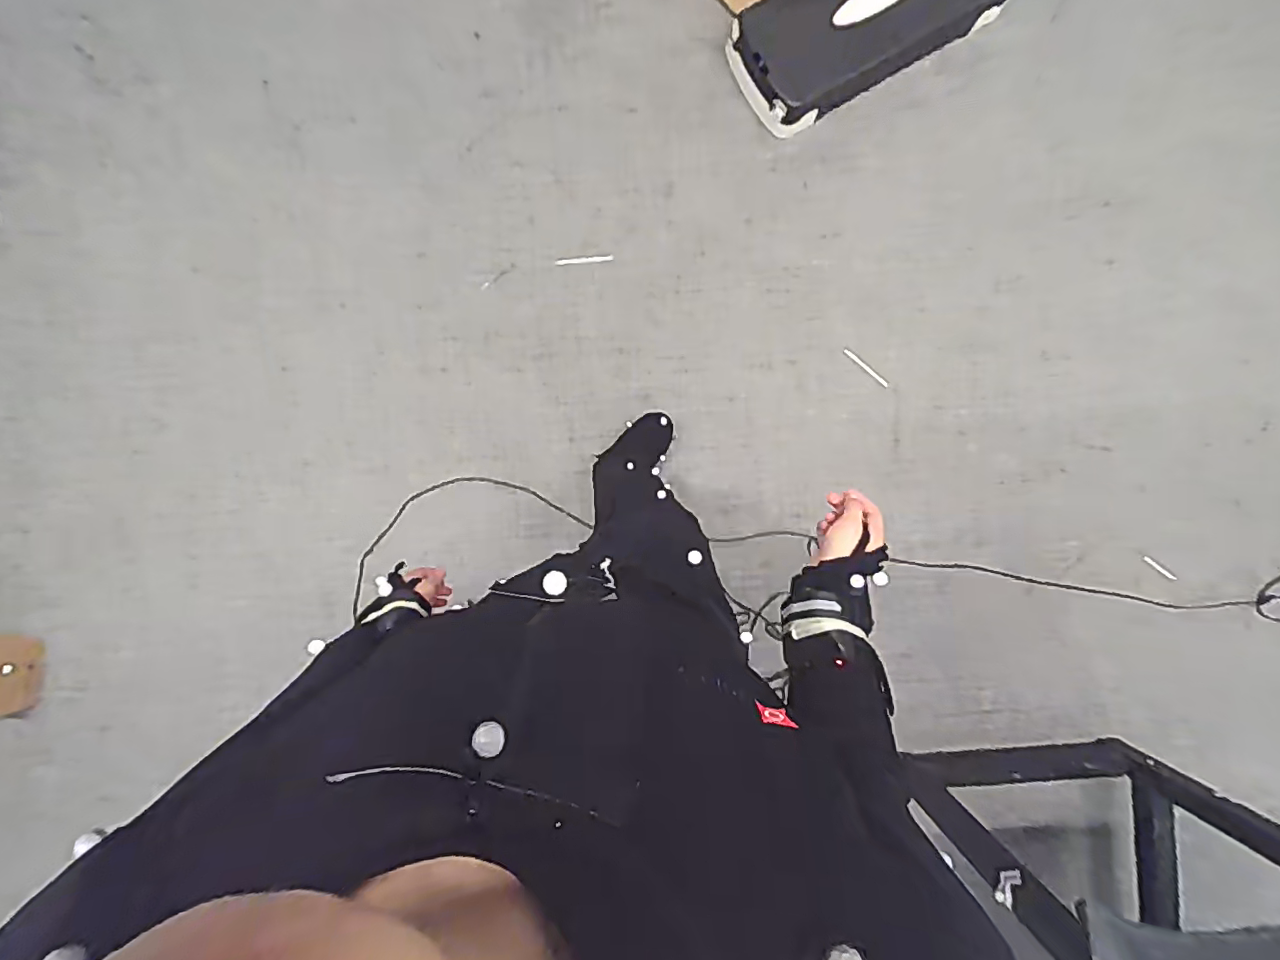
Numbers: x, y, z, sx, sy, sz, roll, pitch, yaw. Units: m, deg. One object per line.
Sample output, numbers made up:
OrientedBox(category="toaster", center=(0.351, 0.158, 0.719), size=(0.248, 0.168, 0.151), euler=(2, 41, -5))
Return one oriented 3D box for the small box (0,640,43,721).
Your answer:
OrientedBox(category="small box", center=(-1.568, 0.476, 1.259), size=(0.179, 0.176, 0.168), euler=(7, 88, 1))
